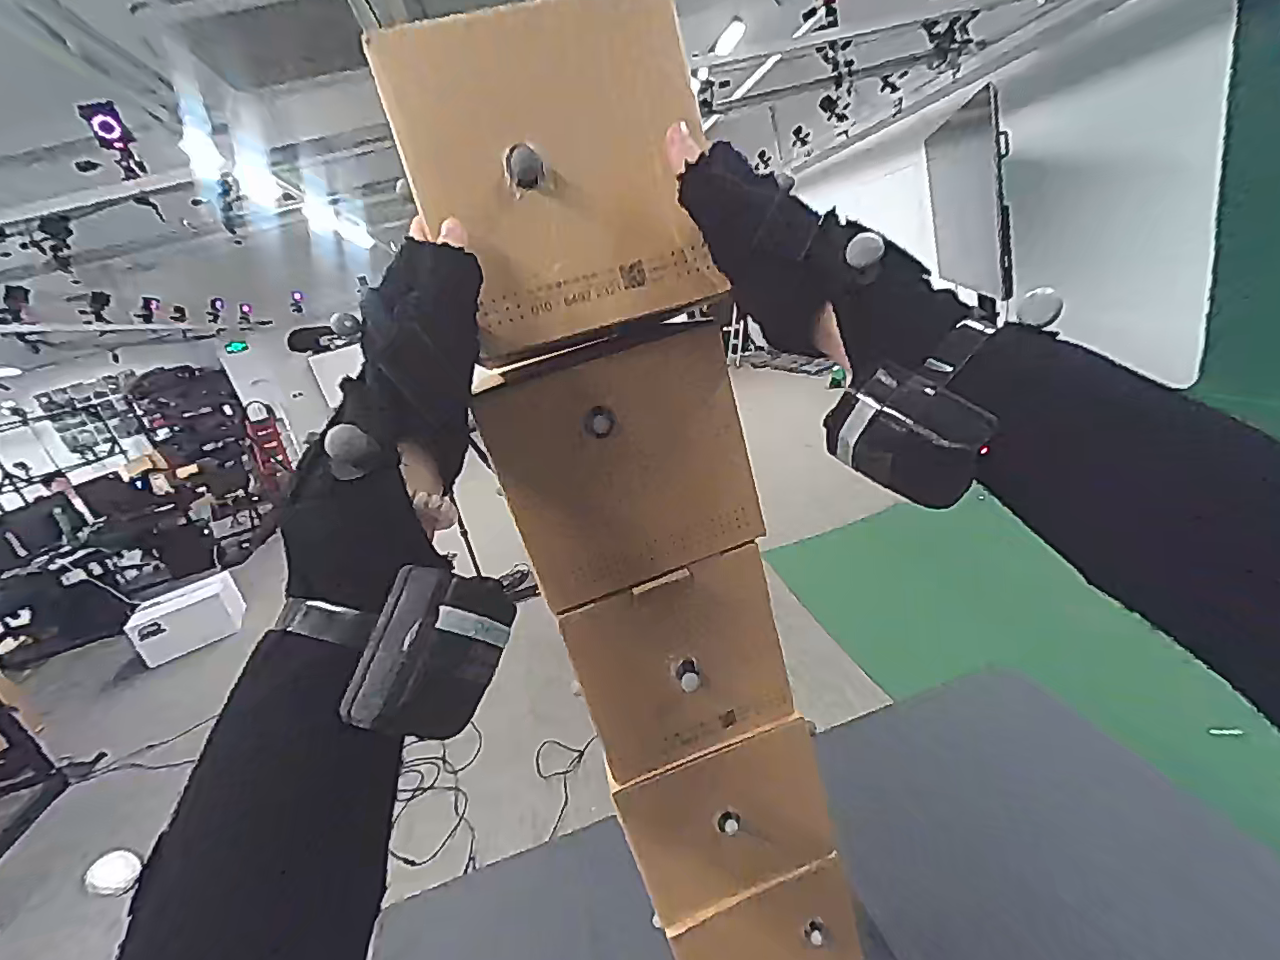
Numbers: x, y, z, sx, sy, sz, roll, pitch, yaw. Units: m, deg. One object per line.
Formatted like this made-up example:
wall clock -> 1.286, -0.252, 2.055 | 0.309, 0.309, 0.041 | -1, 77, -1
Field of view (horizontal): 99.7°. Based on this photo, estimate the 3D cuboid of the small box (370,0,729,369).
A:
small box -> -0.054, -0.183, 0.380 | 0.168, 0.176, 0.179 | -18, 11, -8

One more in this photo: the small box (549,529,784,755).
small box -> 0.016, 0.123, 0.508 | 0.168, 0.176, 0.179 | -18, 18, -8

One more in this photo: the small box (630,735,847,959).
small box -> 0.105, 0.427, 0.589 | 0.179, 0.176, 0.168 | -18, 18, -8

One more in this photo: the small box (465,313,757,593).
small box -> -0.024, -0.029, 0.455 | 0.179, 0.176, 0.168 | -19, 18, -7
